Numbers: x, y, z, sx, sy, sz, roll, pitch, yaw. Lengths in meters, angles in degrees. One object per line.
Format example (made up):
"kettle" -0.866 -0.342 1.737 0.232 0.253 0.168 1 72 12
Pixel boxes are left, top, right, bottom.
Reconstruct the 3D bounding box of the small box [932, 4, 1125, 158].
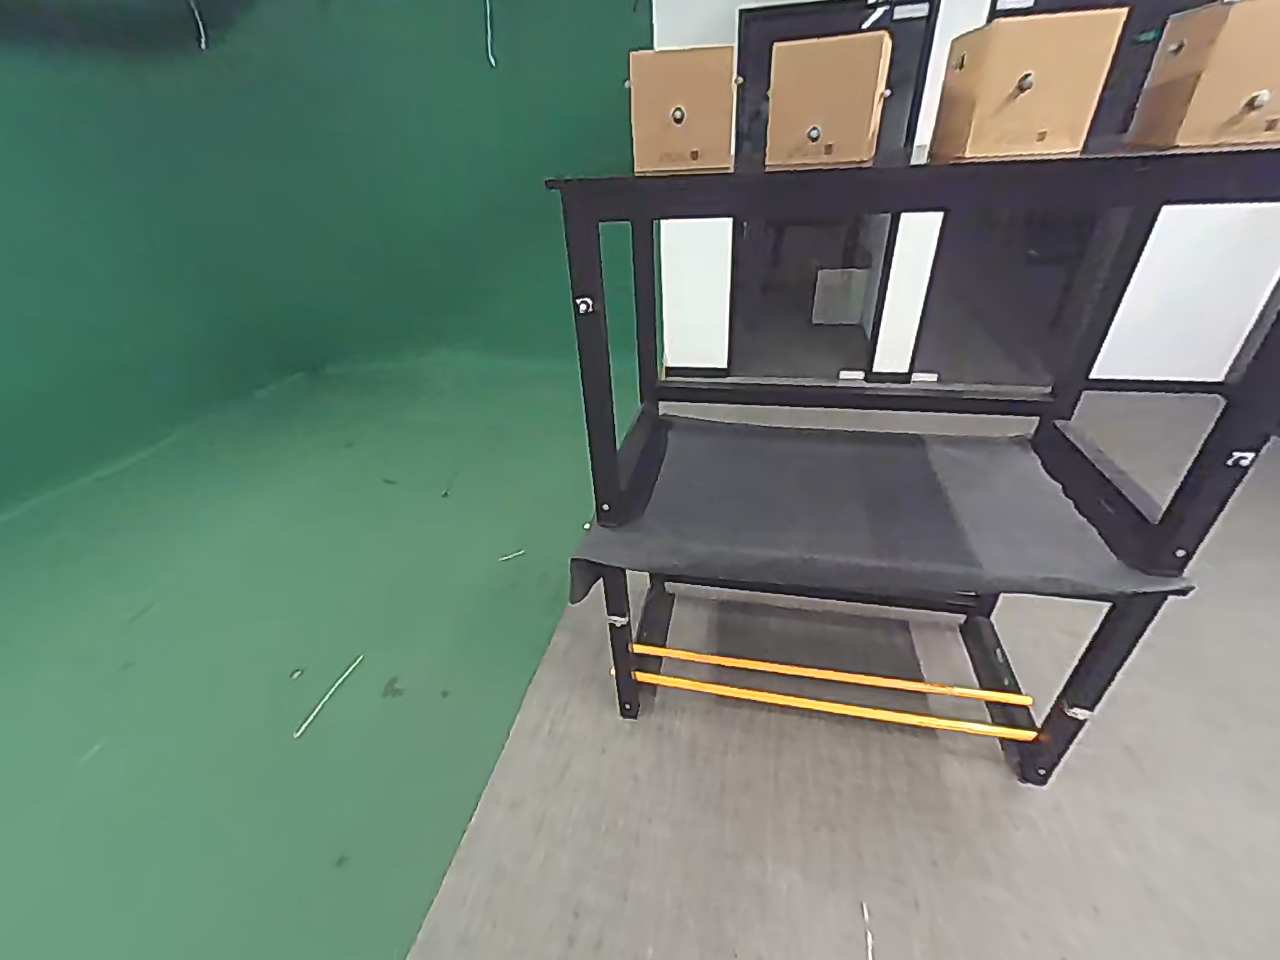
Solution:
"small box" 0.582 -0.605 0.839 0.168 0.176 0.179 1 32 8

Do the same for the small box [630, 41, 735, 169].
"small box" 0.081 -0.648 0.951 0.168 0.176 0.179 2 33 8

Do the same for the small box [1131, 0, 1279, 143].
"small box" 0.869 -0.591 0.783 0.168 0.176 0.179 6 35 17
